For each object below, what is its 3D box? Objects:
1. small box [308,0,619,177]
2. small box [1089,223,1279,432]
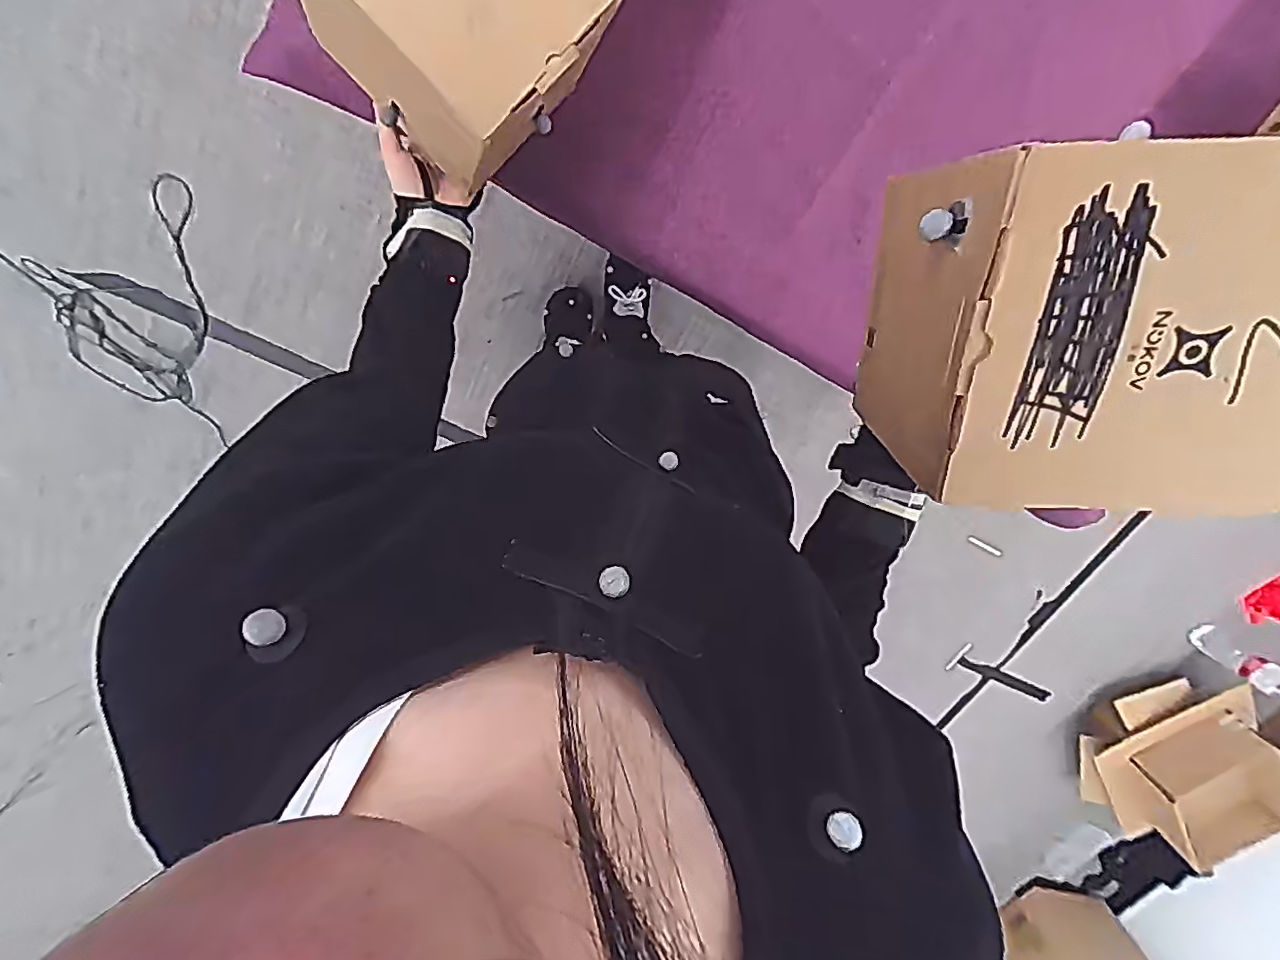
[{"bbox_3d":[-0.151,-0.387,0.451,0.168,0.176,0.179,-47,115,-3],"label":"small box"},{"bbox_3d":[0.723,-0.194,0.678,0.168,0.176,0.179,29,107,-18],"label":"small box"}]
